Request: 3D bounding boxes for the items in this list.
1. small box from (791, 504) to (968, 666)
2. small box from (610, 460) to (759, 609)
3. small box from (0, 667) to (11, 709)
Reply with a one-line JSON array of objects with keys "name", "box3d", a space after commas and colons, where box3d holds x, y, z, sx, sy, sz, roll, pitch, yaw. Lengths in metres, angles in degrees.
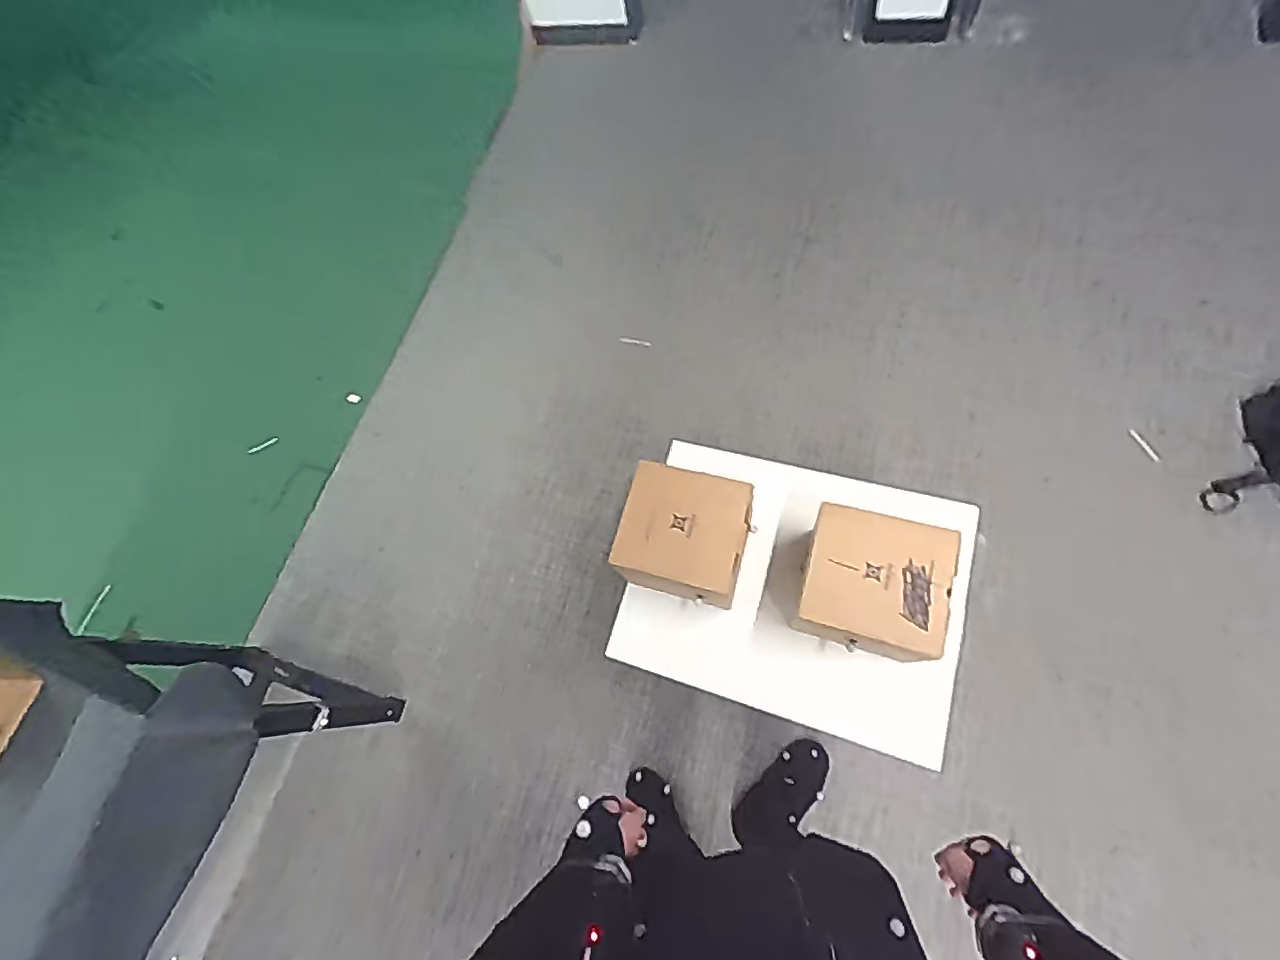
[{"name": "small box", "box3d": [0.323, 0.153, 0.758, 0.179, 0.176, 0.168, 15, 72, 15]}, {"name": "small box", "box3d": [0.075, 0.091, 0.829, 0.179, 0.176, 0.168, 13, 70, 15]}, {"name": "small box", "box3d": [-1.122, 0.345, 0.805, 0.168, 0.176, 0.179, 15, 72, 16]}]
